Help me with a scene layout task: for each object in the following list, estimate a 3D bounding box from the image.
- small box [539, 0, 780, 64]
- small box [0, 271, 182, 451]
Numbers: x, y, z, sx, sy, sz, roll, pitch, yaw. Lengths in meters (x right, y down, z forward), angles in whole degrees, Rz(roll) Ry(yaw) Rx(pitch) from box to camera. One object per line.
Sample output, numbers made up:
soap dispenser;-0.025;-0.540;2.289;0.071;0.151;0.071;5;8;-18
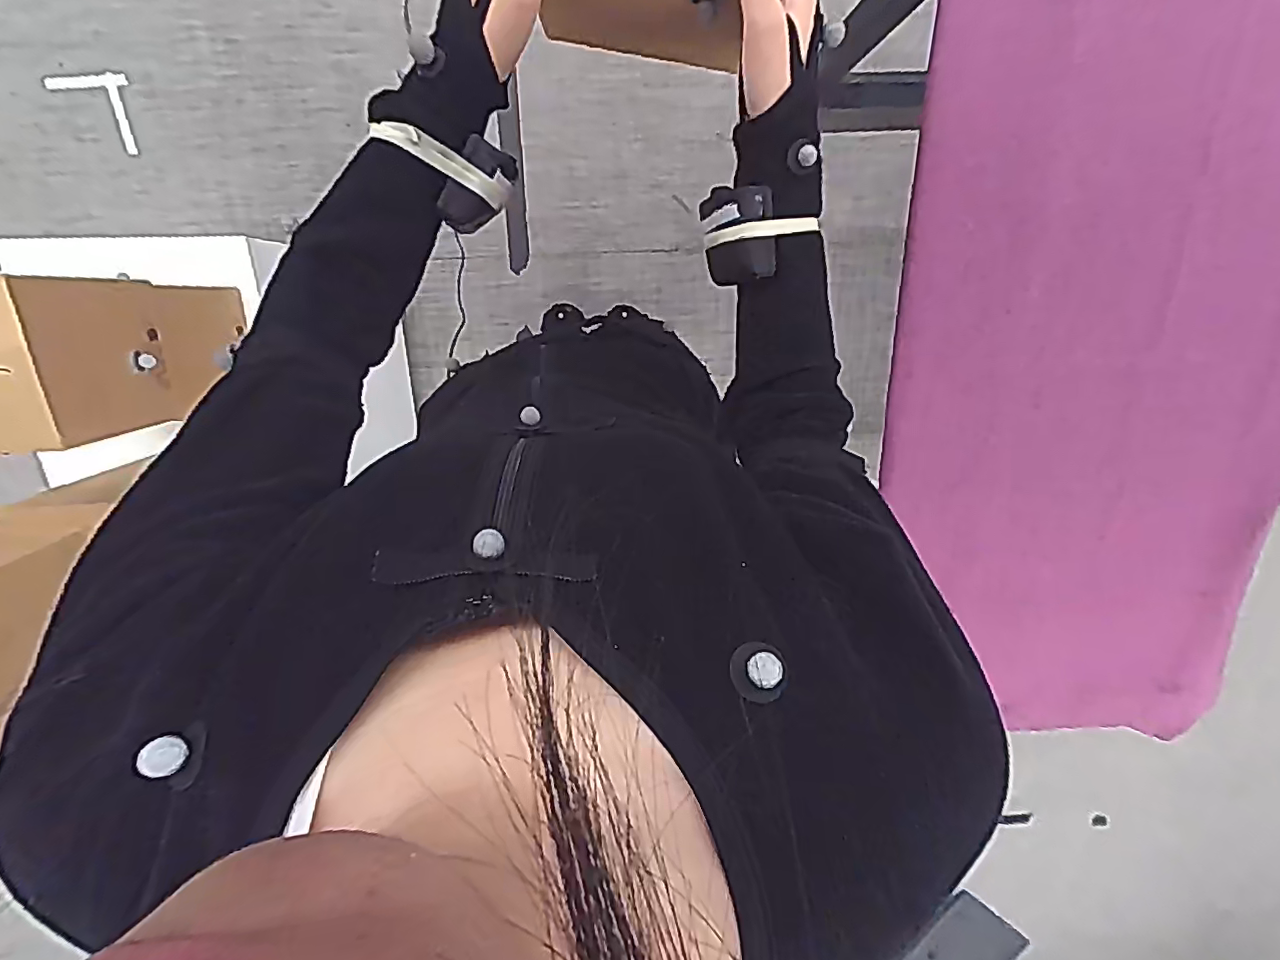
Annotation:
small box;0.020;-0.416;0.365;0.179;0.176;0.168;8;110;-3
small box;-0.649;-0.133;0.571;0.179;0.176;0.168;0;109;-4
